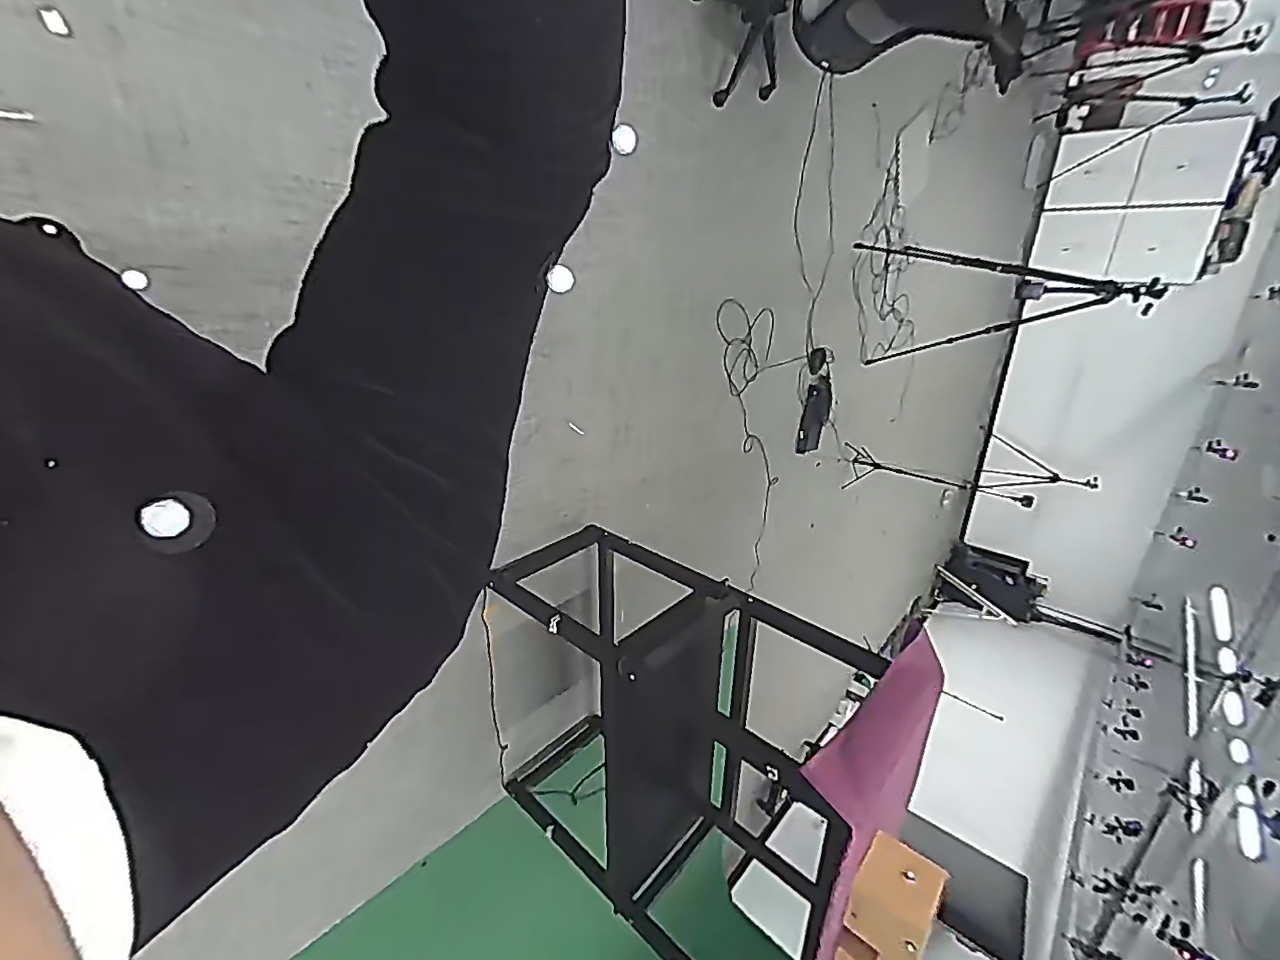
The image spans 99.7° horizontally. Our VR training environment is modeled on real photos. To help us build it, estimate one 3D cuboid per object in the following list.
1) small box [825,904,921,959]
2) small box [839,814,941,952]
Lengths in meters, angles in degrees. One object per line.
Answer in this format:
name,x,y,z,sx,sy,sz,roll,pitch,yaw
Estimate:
small box,0.614,1.212,1.427,0.179,0.176,0.168,-22,120,-44
small box,0.614,0.978,1.332,0.179,0.176,0.168,-24,122,-45
